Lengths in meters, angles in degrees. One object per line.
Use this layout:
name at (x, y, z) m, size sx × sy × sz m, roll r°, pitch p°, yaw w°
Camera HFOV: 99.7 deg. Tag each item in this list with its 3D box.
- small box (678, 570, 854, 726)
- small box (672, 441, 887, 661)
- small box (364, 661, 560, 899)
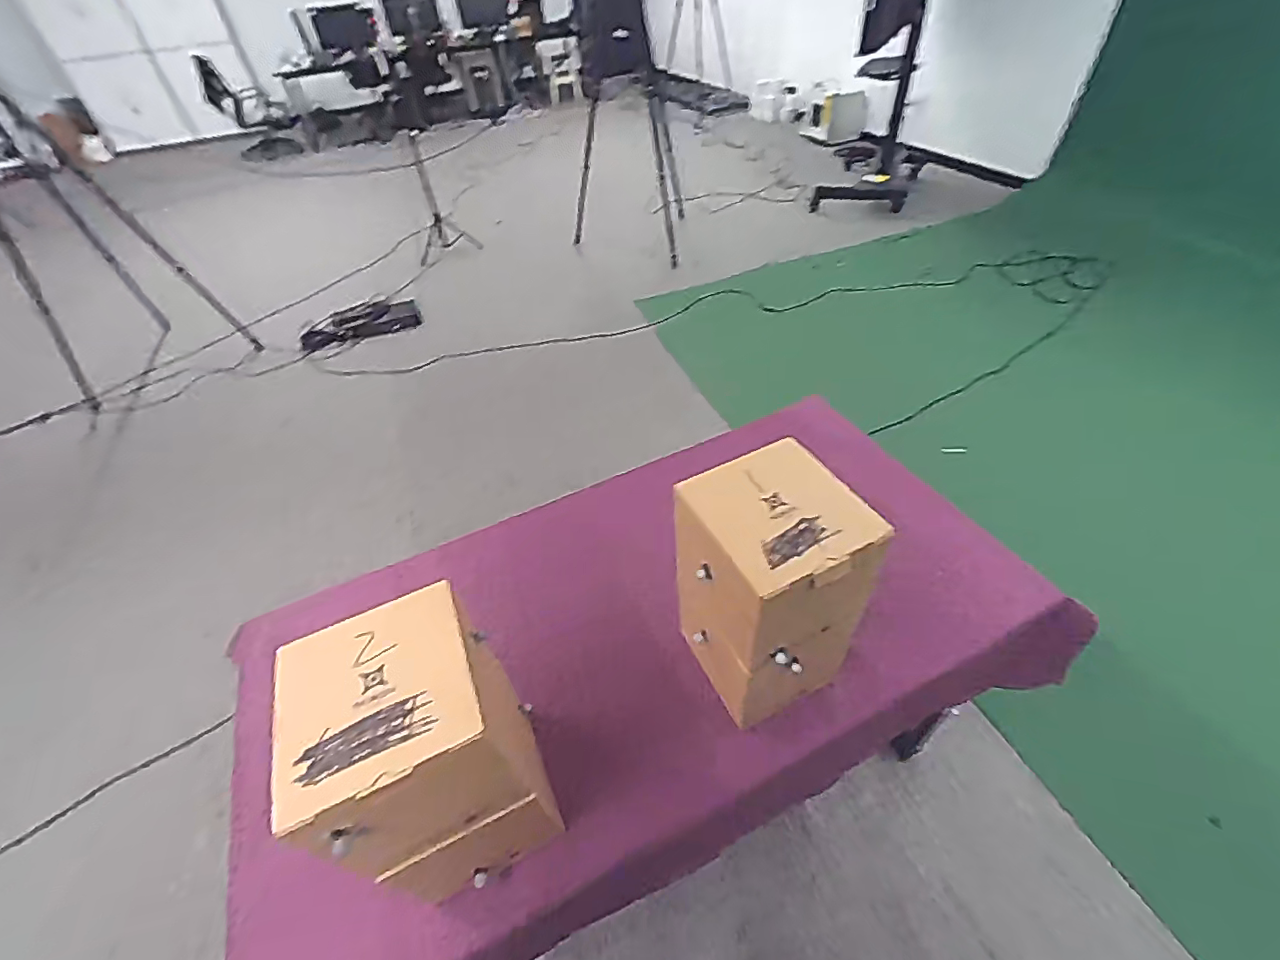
small box at (0.166, 0.206, 0.761) m, size 0.168 × 0.176 × 0.179 m, roll -23°, pitch 47°, yaw -14°
small box at (0.153, 0.090, 0.645) m, size 0.168 × 0.176 × 0.179 m, roll -22°, pitch 47°, yaw -15°
small box at (-0.210, 0.361, 0.653) m, size 0.168 × 0.176 × 0.179 m, roll -21°, pitch 48°, yaw -14°
